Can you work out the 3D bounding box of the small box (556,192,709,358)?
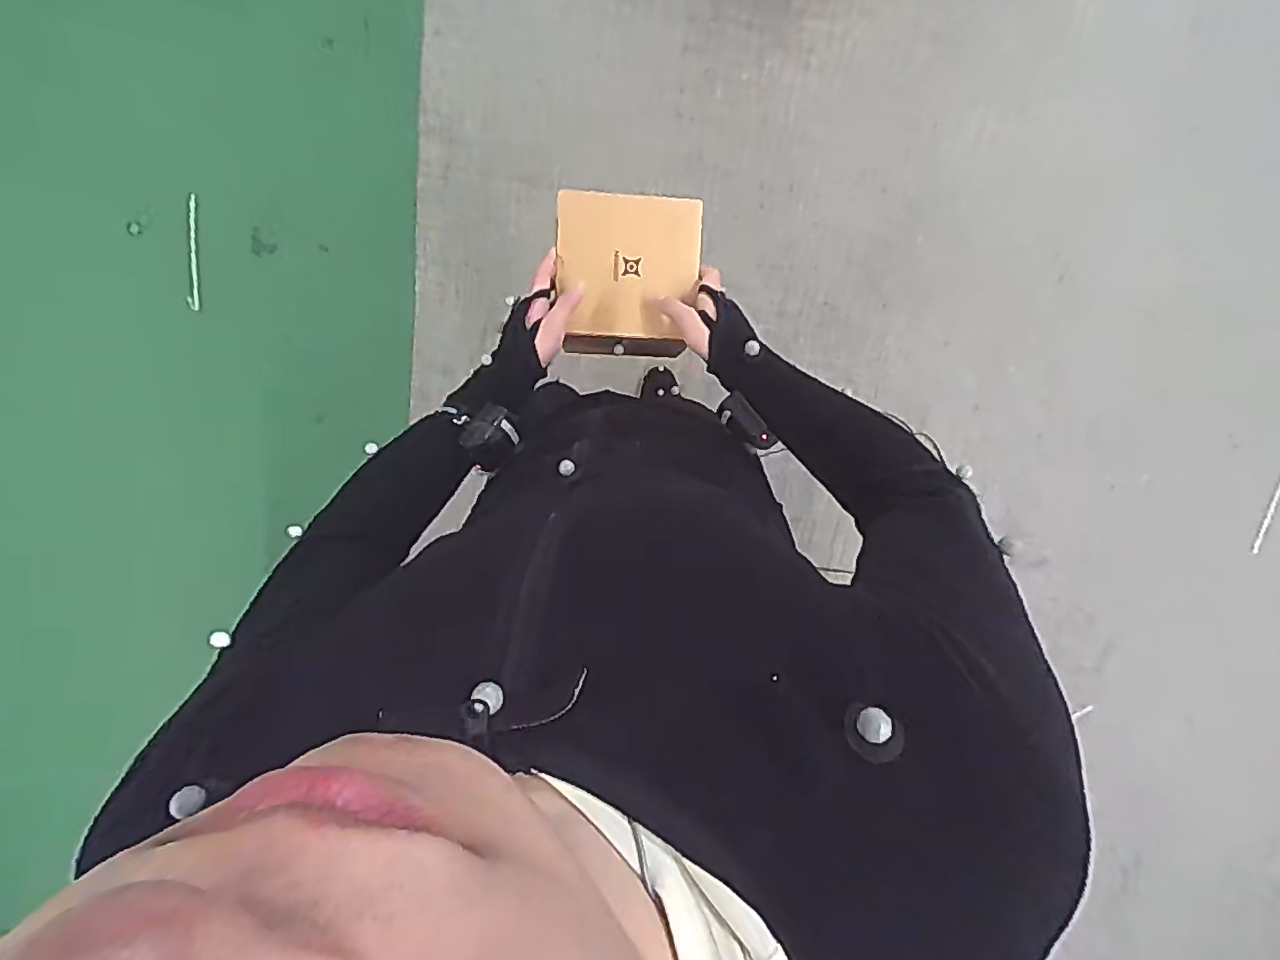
[{"bbox_3d":[-0.014,-0.258,0.719,0.179,0.176,0.168,3,96,-3],"label":"small box"}]
